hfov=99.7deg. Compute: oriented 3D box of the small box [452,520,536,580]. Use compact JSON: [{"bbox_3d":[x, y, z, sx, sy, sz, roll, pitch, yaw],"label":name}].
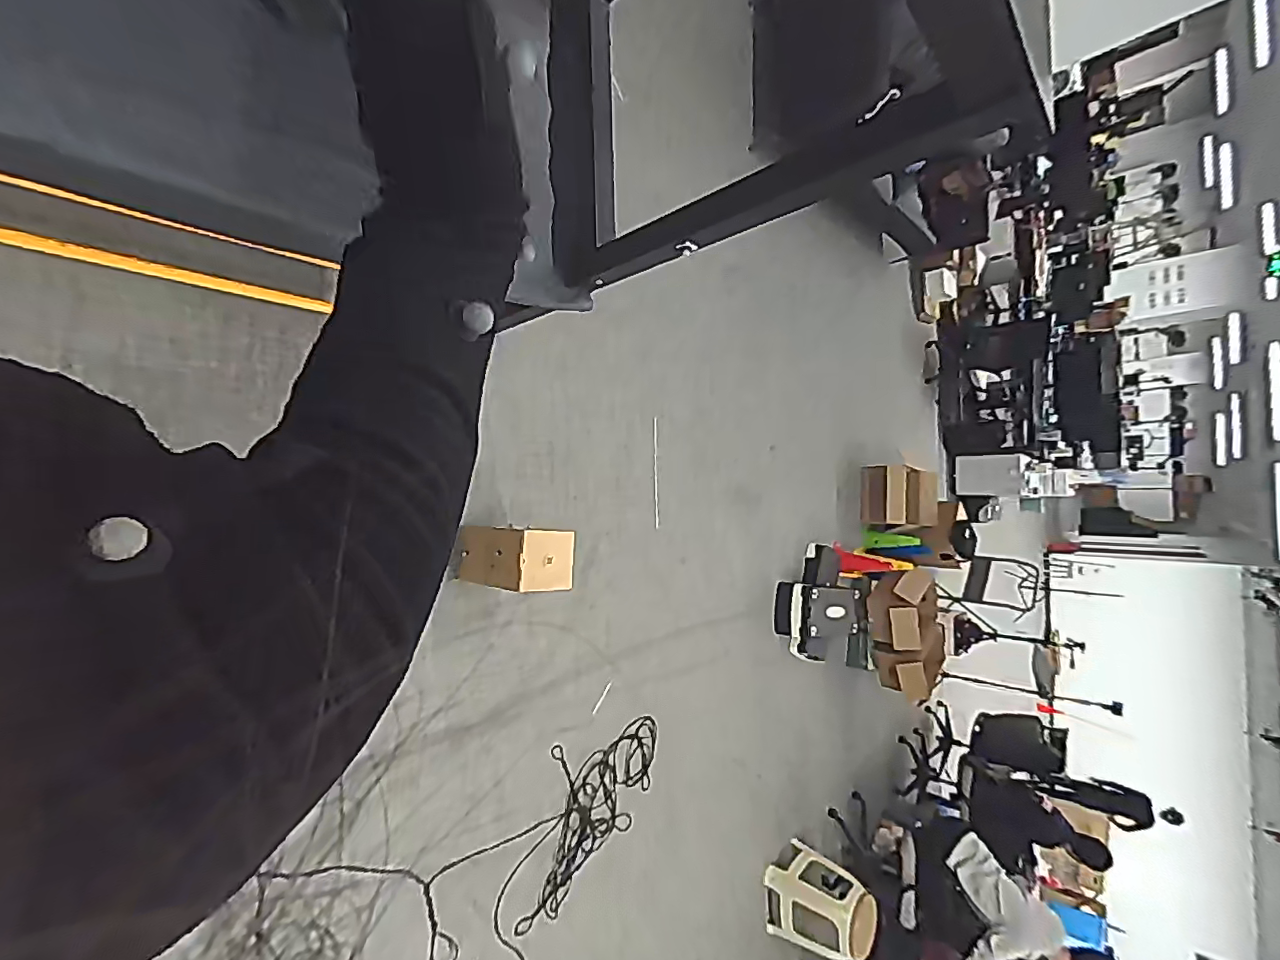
[{"bbox_3d":[-0.443,0.211,1.642,0.179,0.176,0.168,9,82,-46],"label":"small box"}]
